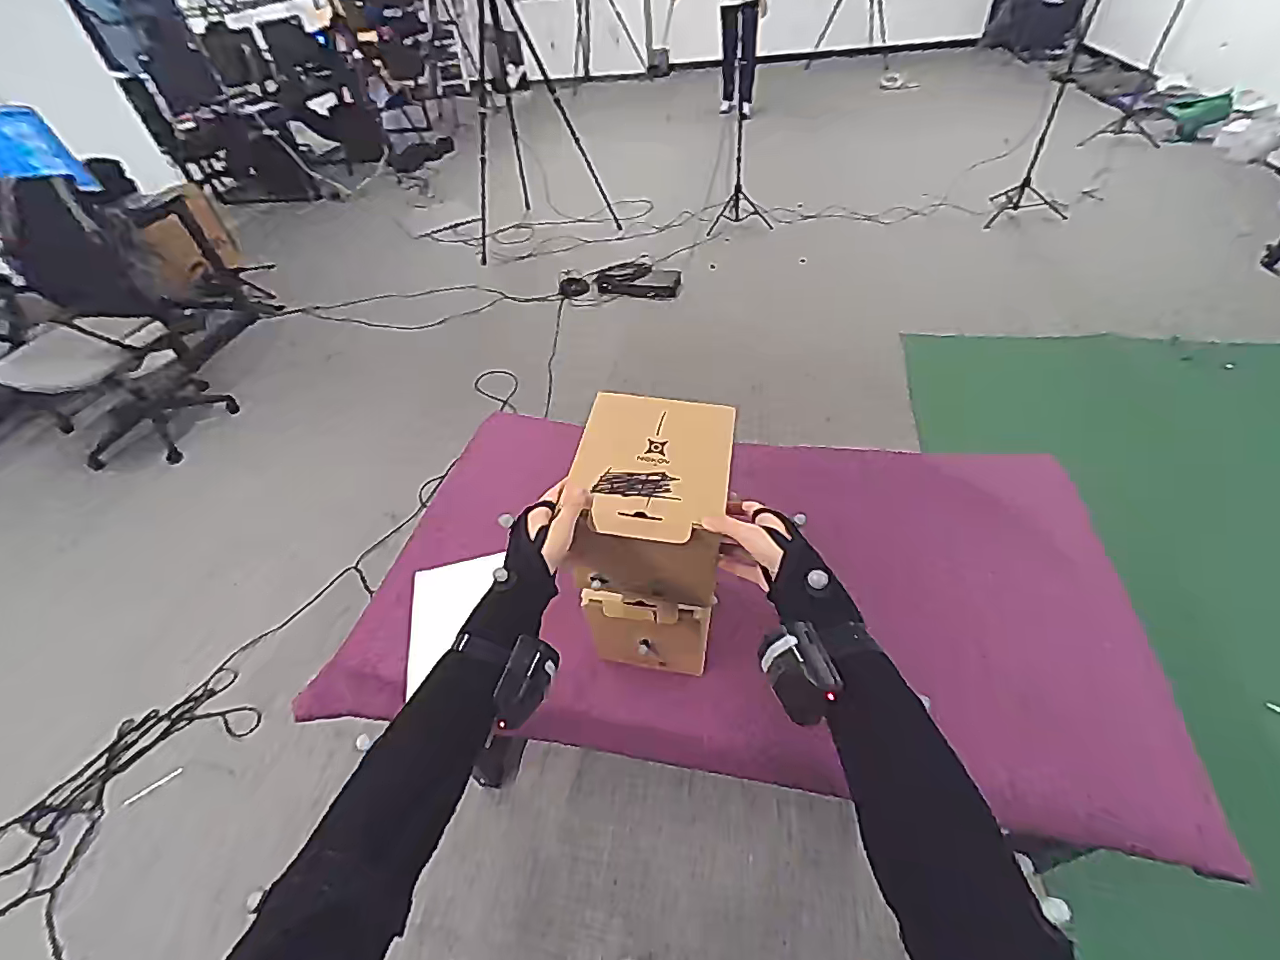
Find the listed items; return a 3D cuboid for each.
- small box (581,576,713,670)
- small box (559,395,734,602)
[{"bbox_3d":[0.023,0.169,0.829,0.168,0.176,0.179,6,47,11],"label":"small box"},{"bbox_3d":[0.015,0.025,0.648,0.168,0.176,0.179,8,50,8],"label":"small box"}]
